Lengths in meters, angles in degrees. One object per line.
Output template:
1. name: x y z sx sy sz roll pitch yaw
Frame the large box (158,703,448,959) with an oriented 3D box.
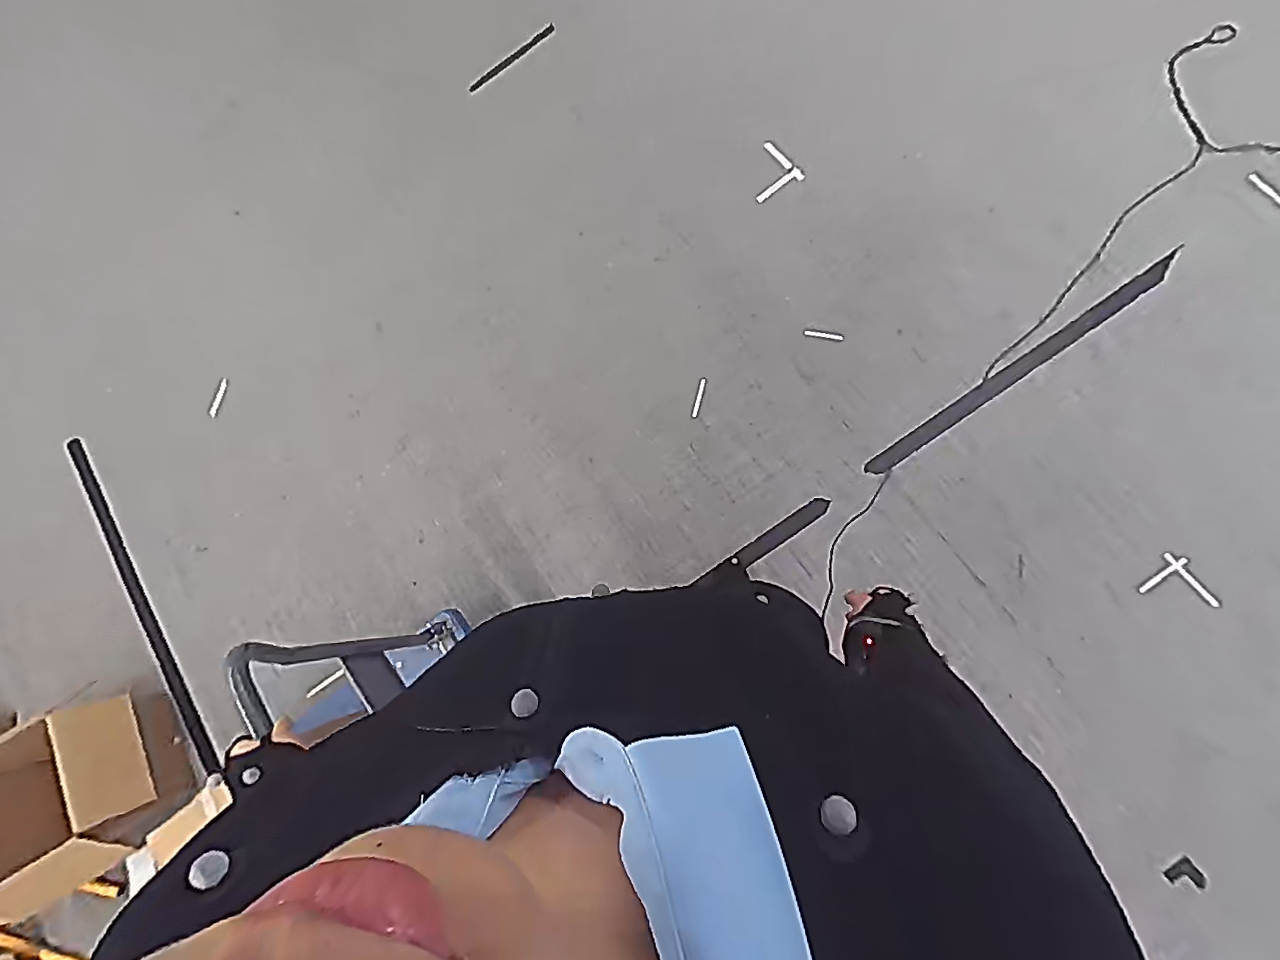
1. large box: -0.701 0.774 1.173 0.320 0.320 0.408 -37 78 1
